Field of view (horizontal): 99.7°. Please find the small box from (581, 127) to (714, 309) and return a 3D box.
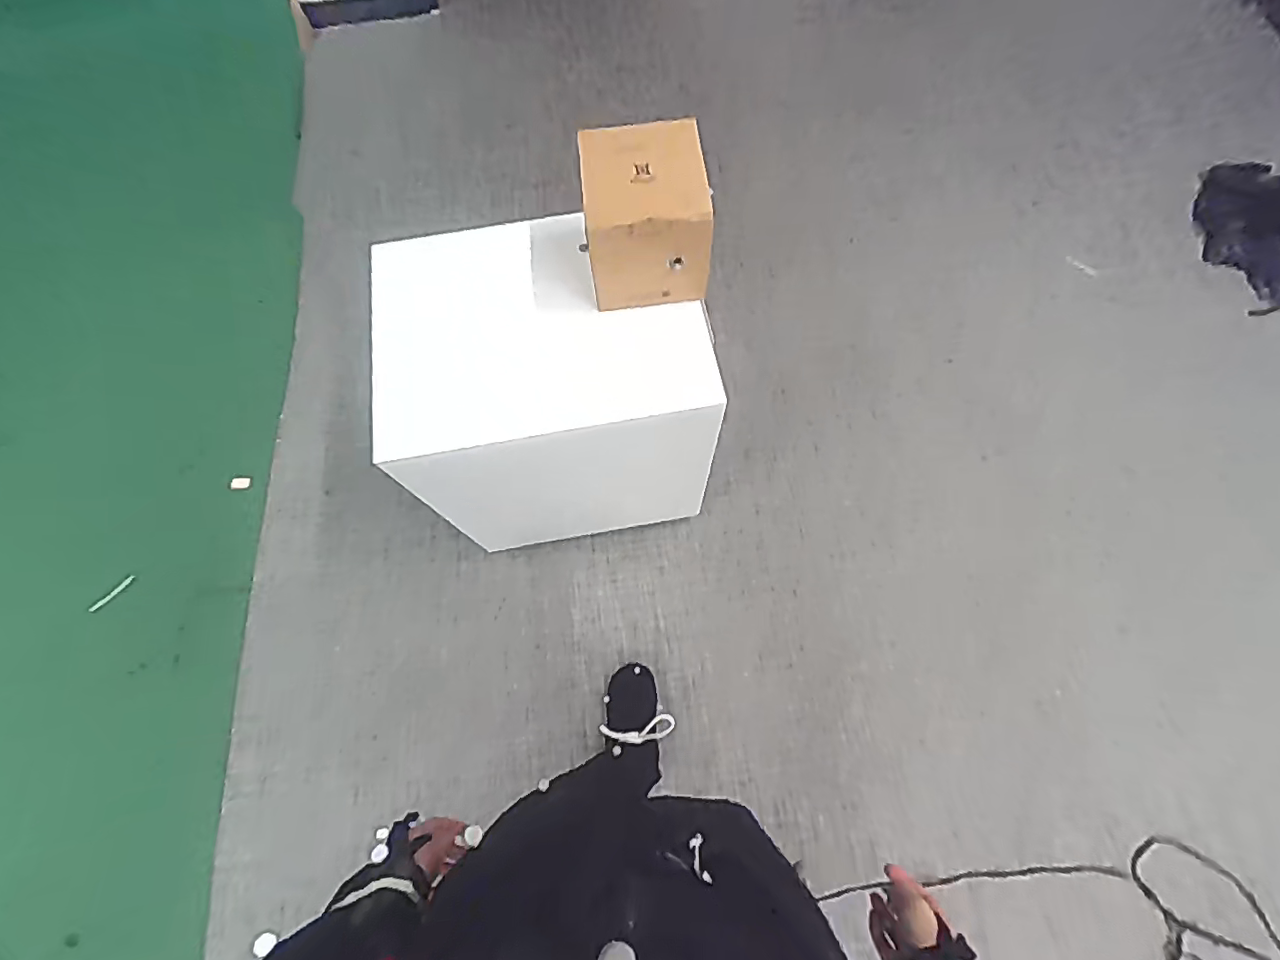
[{"bbox_3d":[0.010,-0.368,0.786,0.168,0.176,0.179,-6,69,-1],"label":"small box"}]
